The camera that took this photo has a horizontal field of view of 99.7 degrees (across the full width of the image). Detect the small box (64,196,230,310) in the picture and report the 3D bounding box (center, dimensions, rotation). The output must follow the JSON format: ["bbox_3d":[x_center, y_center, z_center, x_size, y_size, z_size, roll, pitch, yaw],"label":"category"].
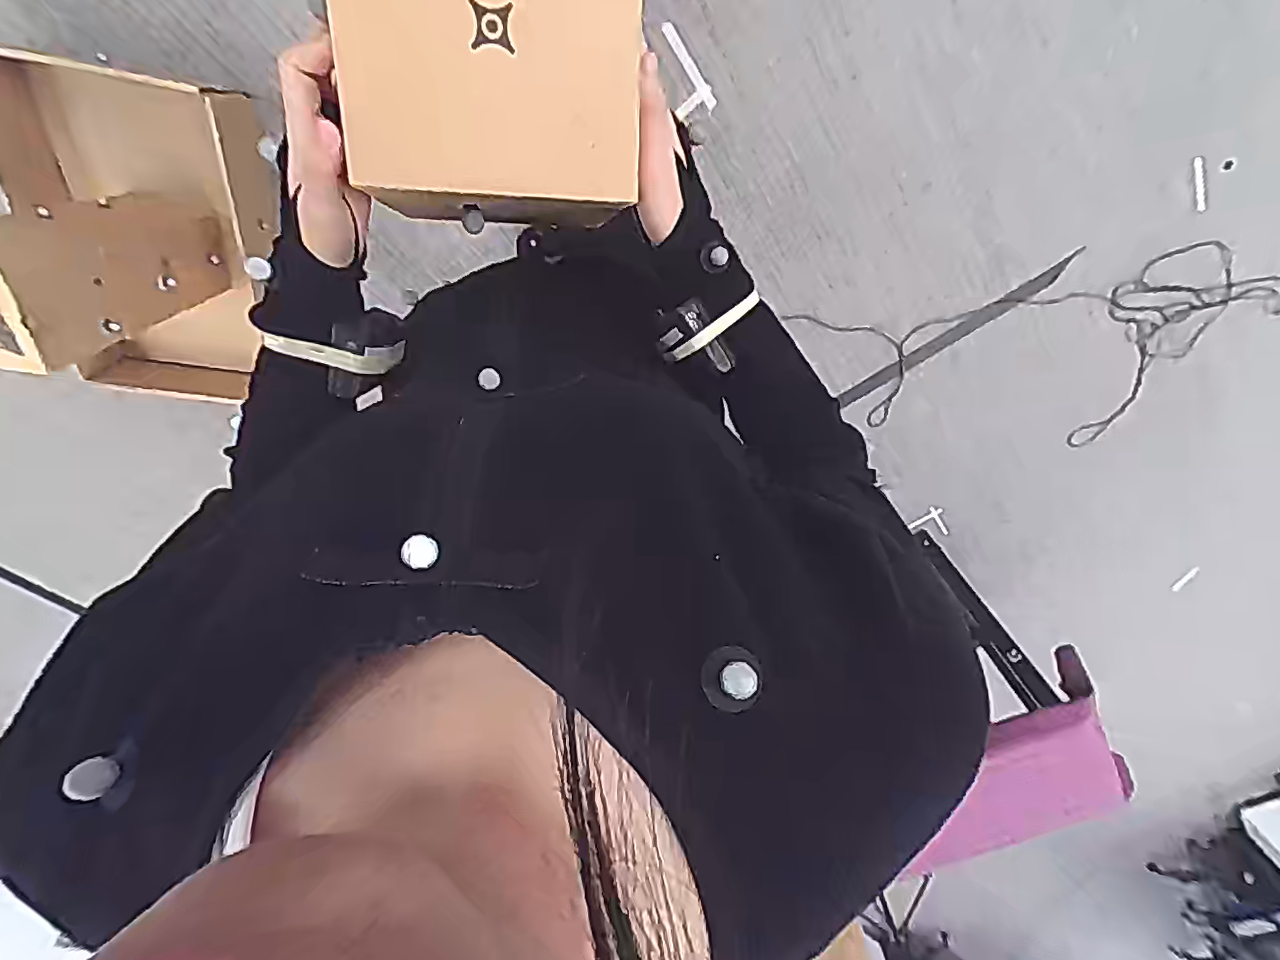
[{"bbox_3d":[-0.991,-0.470,1.108,0.179,0.176,0.168,9,123,-11],"label":"small box"}]

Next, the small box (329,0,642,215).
[{"bbox_3d":[-0.094,-0.284,0.361,0.168,0.176,0.179,-3,108,-11],"label":"small box"}]

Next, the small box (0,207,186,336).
[{"bbox_3d":[-0.981,-0.380,0.973,0.179,0.176,0.168,7,124,-11],"label":"small box"}]

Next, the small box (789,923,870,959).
[{"bbox_3d":[0.520,1.325,1.445,0.179,0.176,0.168,-37,121,18],"label":"small box"}]

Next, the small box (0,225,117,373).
[{"bbox_3d":[-0.974,-0.286,0.838,0.179,0.176,0.168,8,124,-8],"label":"small box"}]
